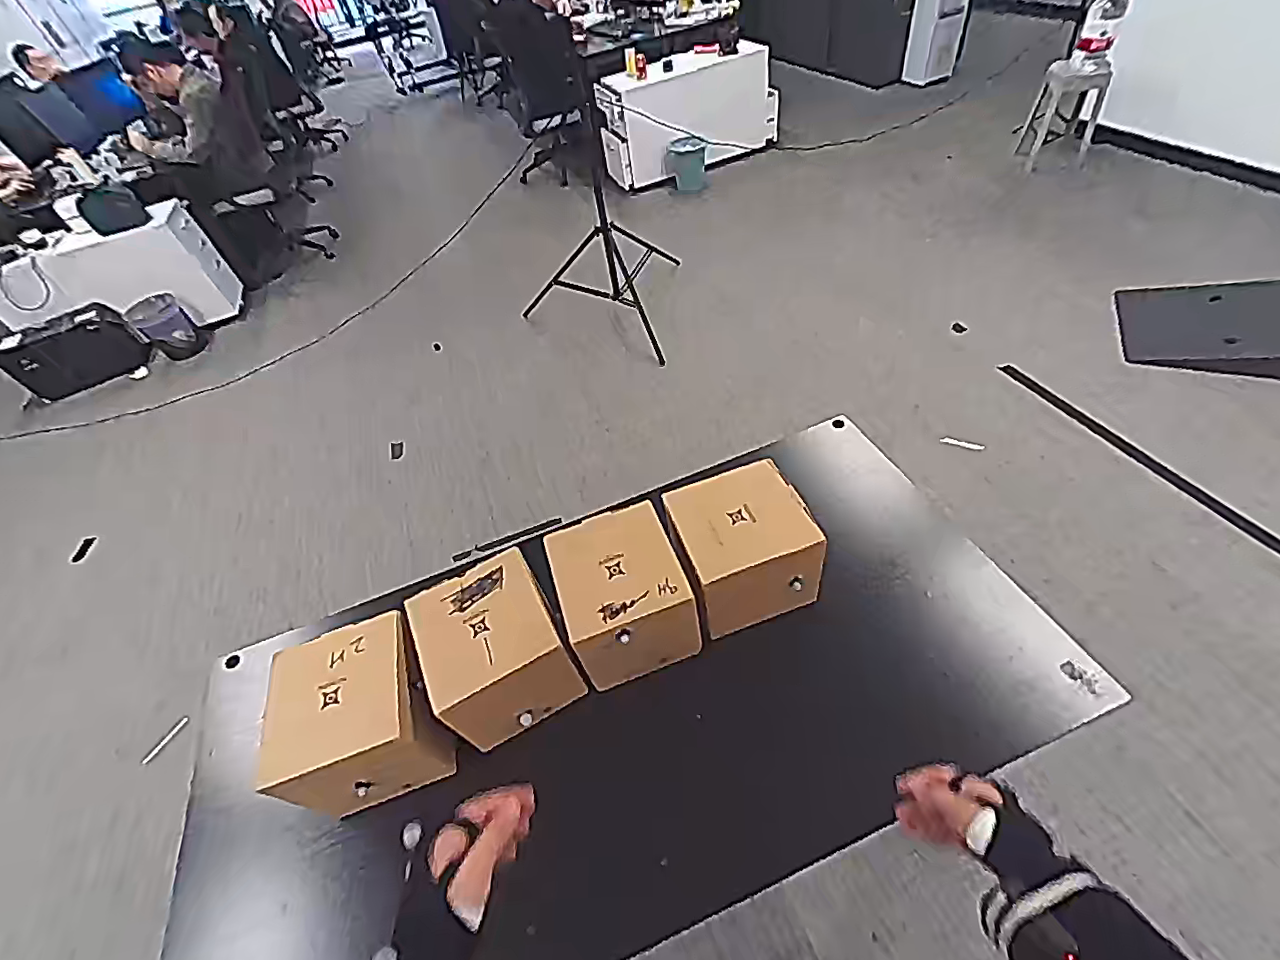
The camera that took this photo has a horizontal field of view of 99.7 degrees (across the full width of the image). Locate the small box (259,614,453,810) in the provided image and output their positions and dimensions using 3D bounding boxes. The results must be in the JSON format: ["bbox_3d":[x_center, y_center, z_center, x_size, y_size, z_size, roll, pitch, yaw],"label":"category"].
[{"bbox_3d":[-0.363,0.317,0.725,0.168,0.176,0.179,-19,48,-7],"label":"small box"}]
